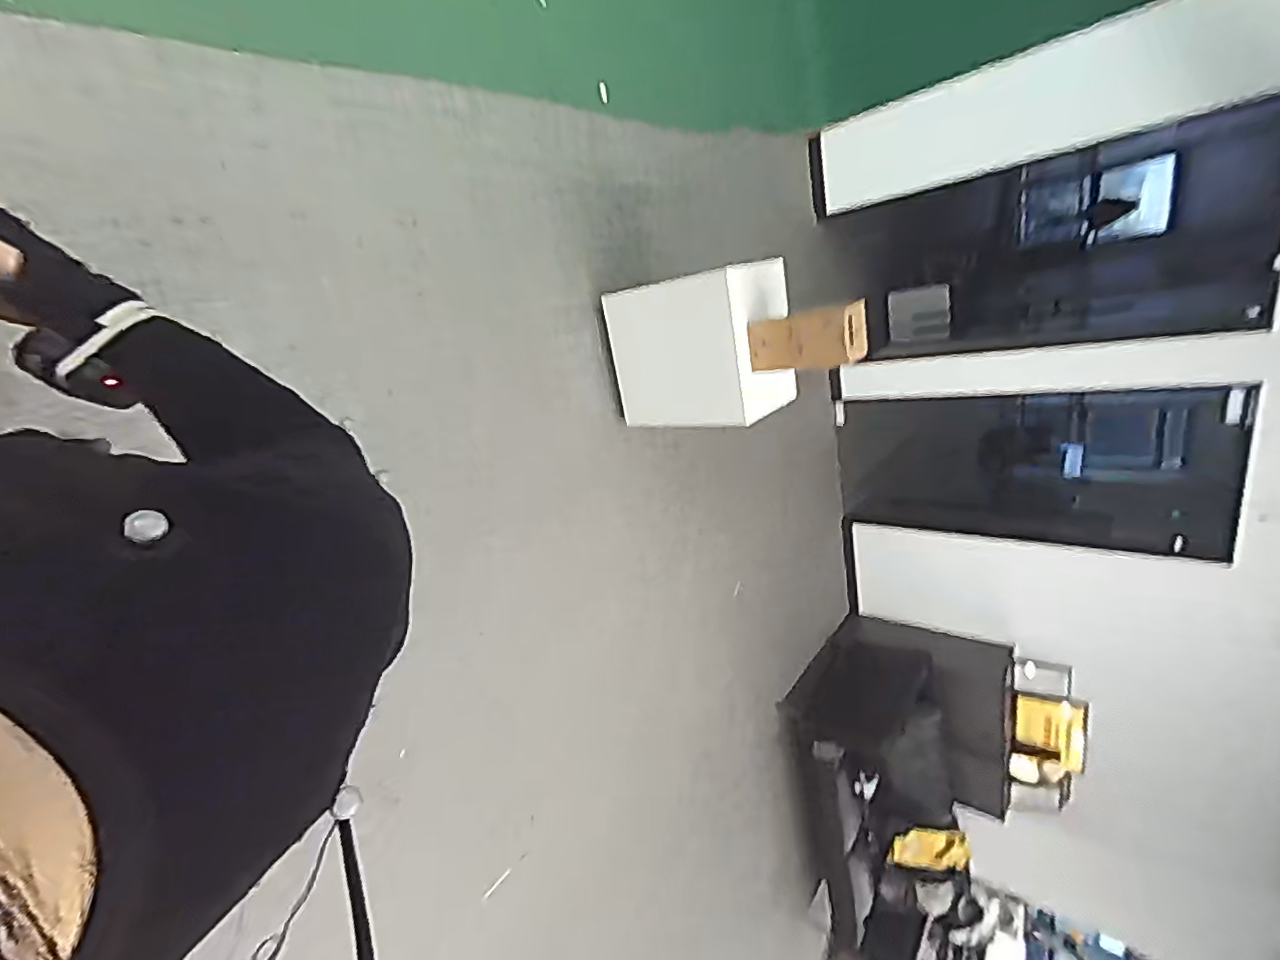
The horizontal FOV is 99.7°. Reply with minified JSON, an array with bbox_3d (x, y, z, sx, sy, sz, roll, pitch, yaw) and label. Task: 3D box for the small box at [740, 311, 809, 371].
[{"bbox_3d":[0.455,-0.470,1.827,0.179,0.176,0.168,-30,116,-44],"label":"small box"}]
